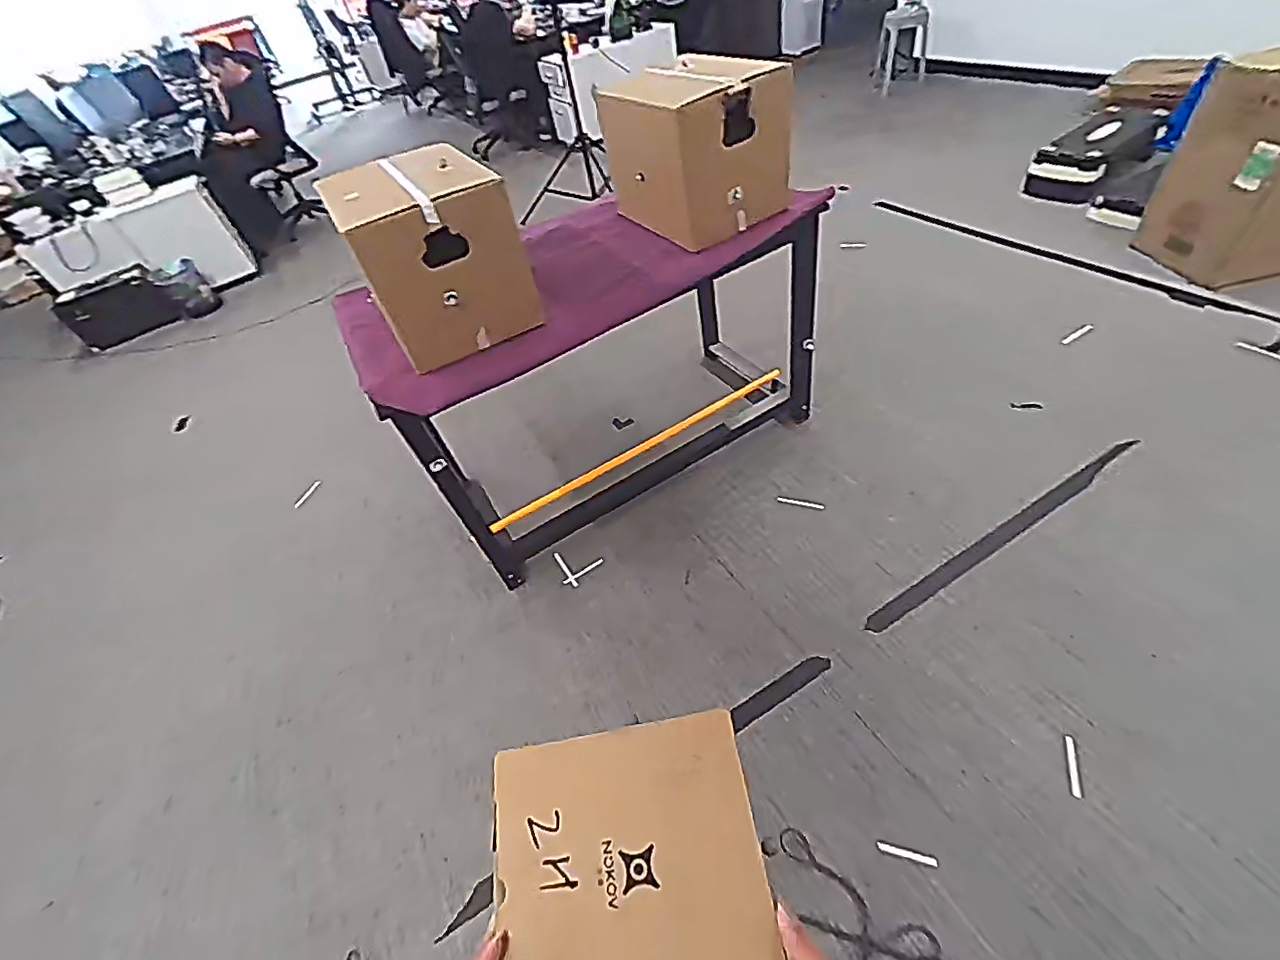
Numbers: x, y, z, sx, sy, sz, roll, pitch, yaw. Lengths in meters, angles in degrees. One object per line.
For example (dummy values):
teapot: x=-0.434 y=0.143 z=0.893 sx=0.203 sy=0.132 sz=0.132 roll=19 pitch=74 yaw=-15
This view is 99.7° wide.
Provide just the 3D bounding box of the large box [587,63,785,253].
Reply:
large box: x=0.122 y=-0.831 z=1.386 sx=0.320 sy=0.320 sz=0.408 roll=-30 pitch=47 yaw=-15

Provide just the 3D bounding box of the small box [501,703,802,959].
small box: x=0.008 y=0.280 z=0.407 sx=0.179 sy=0.176 sz=0.168 roll=-12 pitch=57 yaw=3
